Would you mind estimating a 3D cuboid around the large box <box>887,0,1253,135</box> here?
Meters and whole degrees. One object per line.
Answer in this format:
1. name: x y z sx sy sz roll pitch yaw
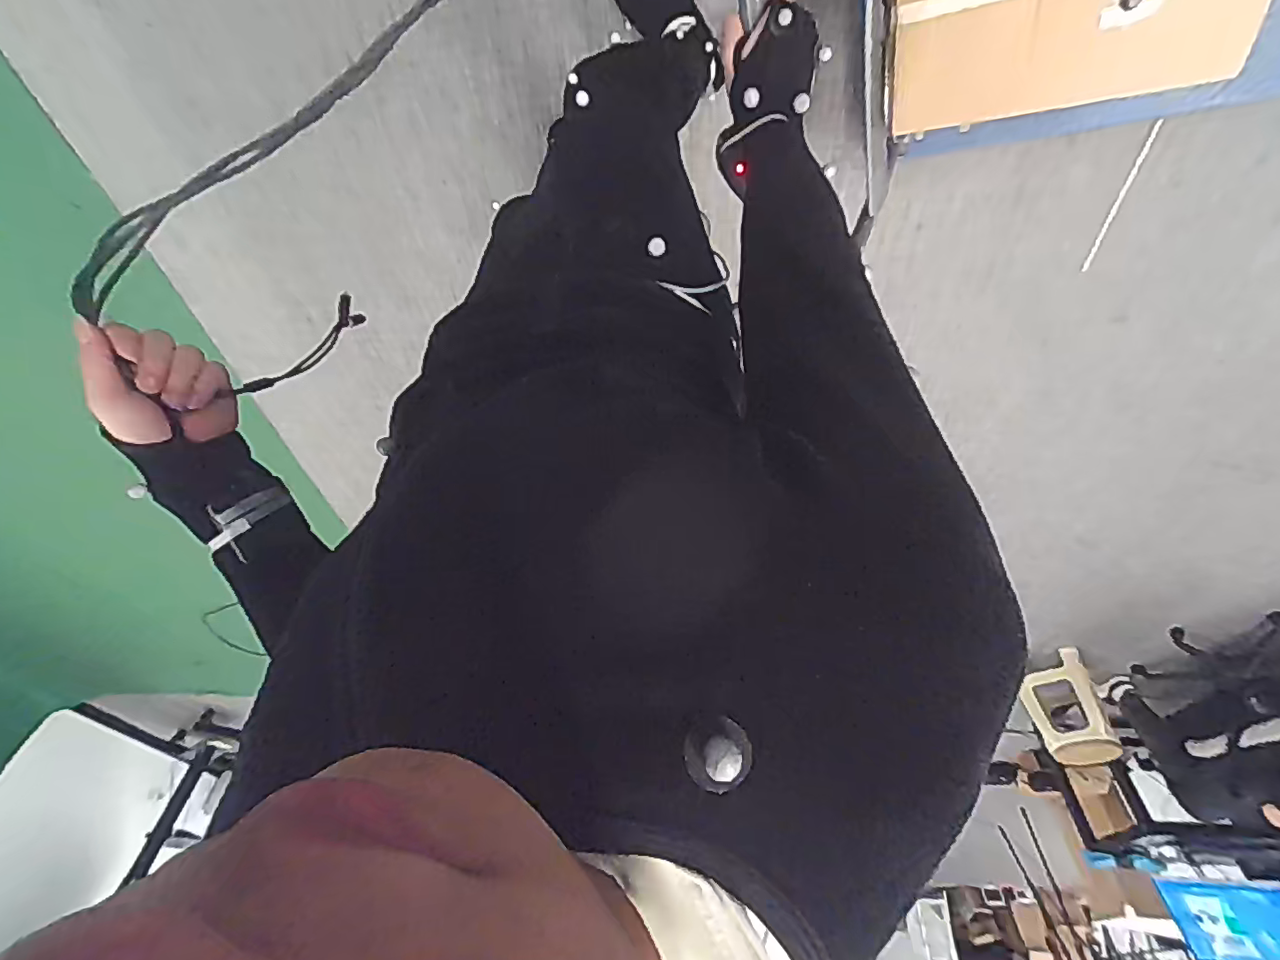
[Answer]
1. large box: 0.584 -0.744 0.766 0.408 0.320 0.320 6 140 24
